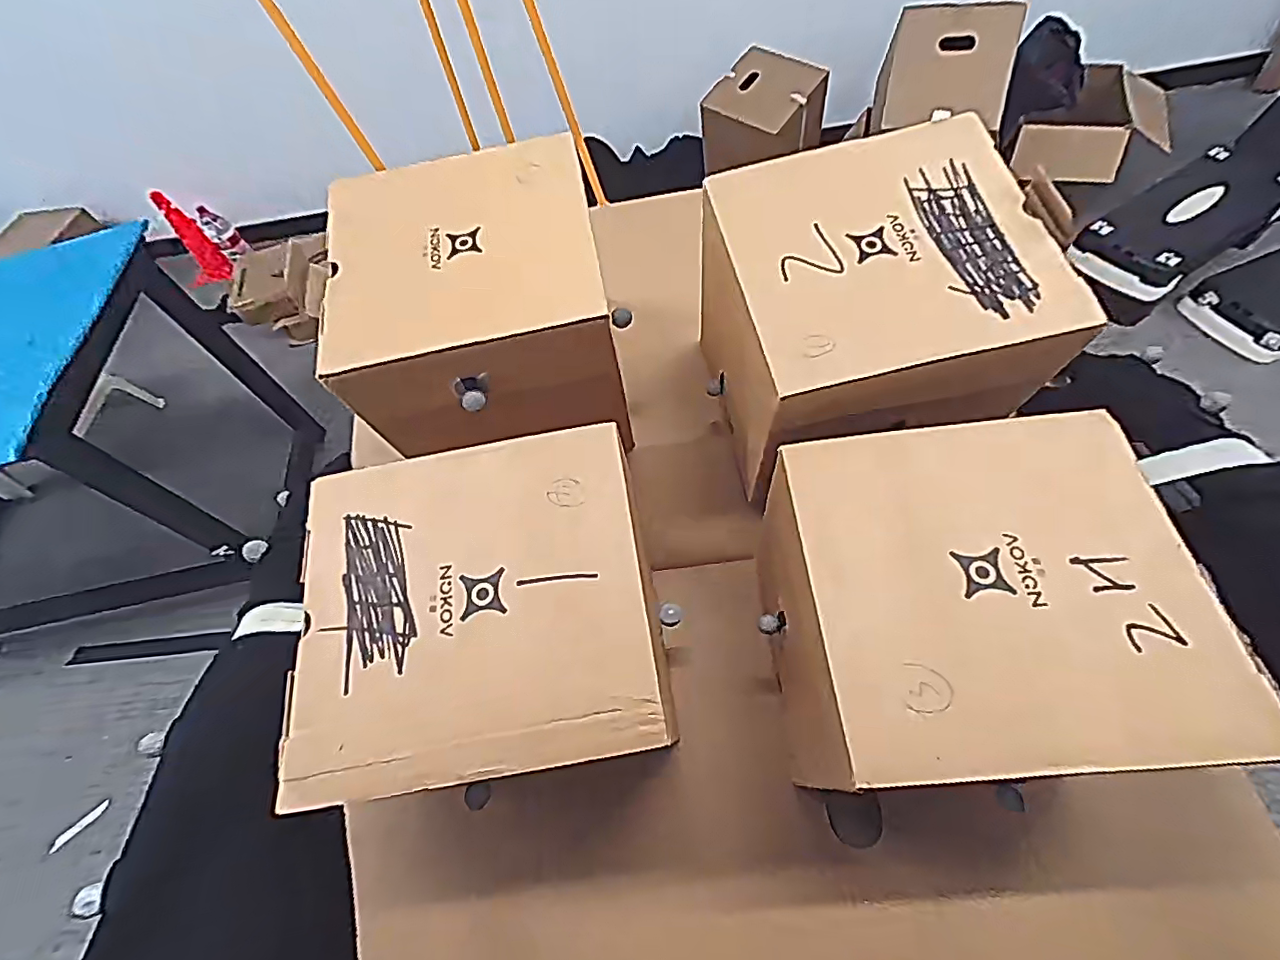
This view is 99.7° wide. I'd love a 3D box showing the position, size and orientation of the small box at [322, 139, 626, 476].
[{"bbox_3d":[-0.110,-0.120,0.424,0.179,0.176,0.168,-12,66,1],"label":"small box"}]
